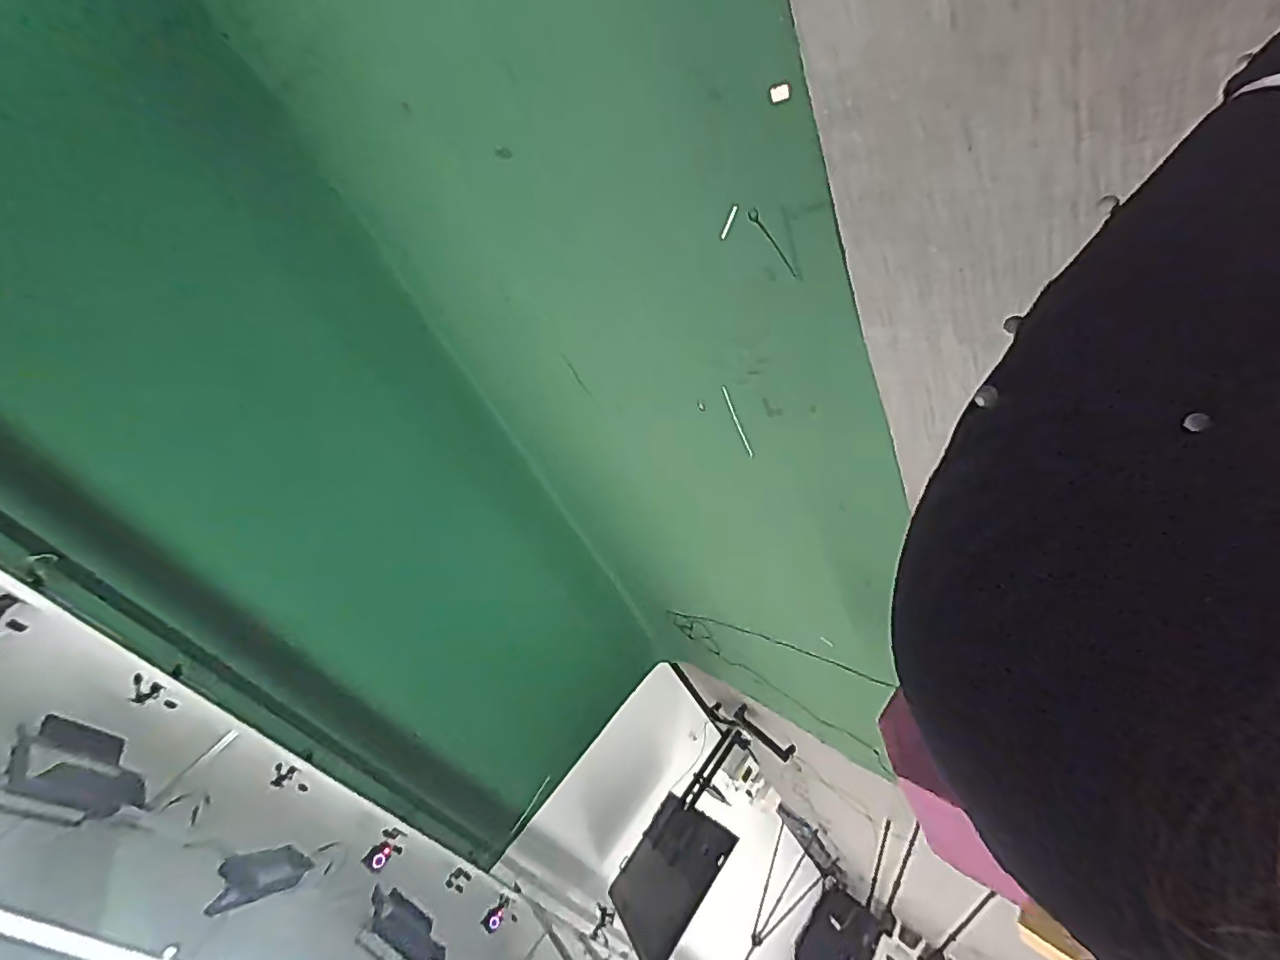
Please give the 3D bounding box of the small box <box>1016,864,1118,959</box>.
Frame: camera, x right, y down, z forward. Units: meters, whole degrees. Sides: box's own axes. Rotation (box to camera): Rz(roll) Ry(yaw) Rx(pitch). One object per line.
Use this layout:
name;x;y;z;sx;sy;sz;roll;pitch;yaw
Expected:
small box;1.112;1.157;1.409;0.179;0.176;0.168;15;143;48
